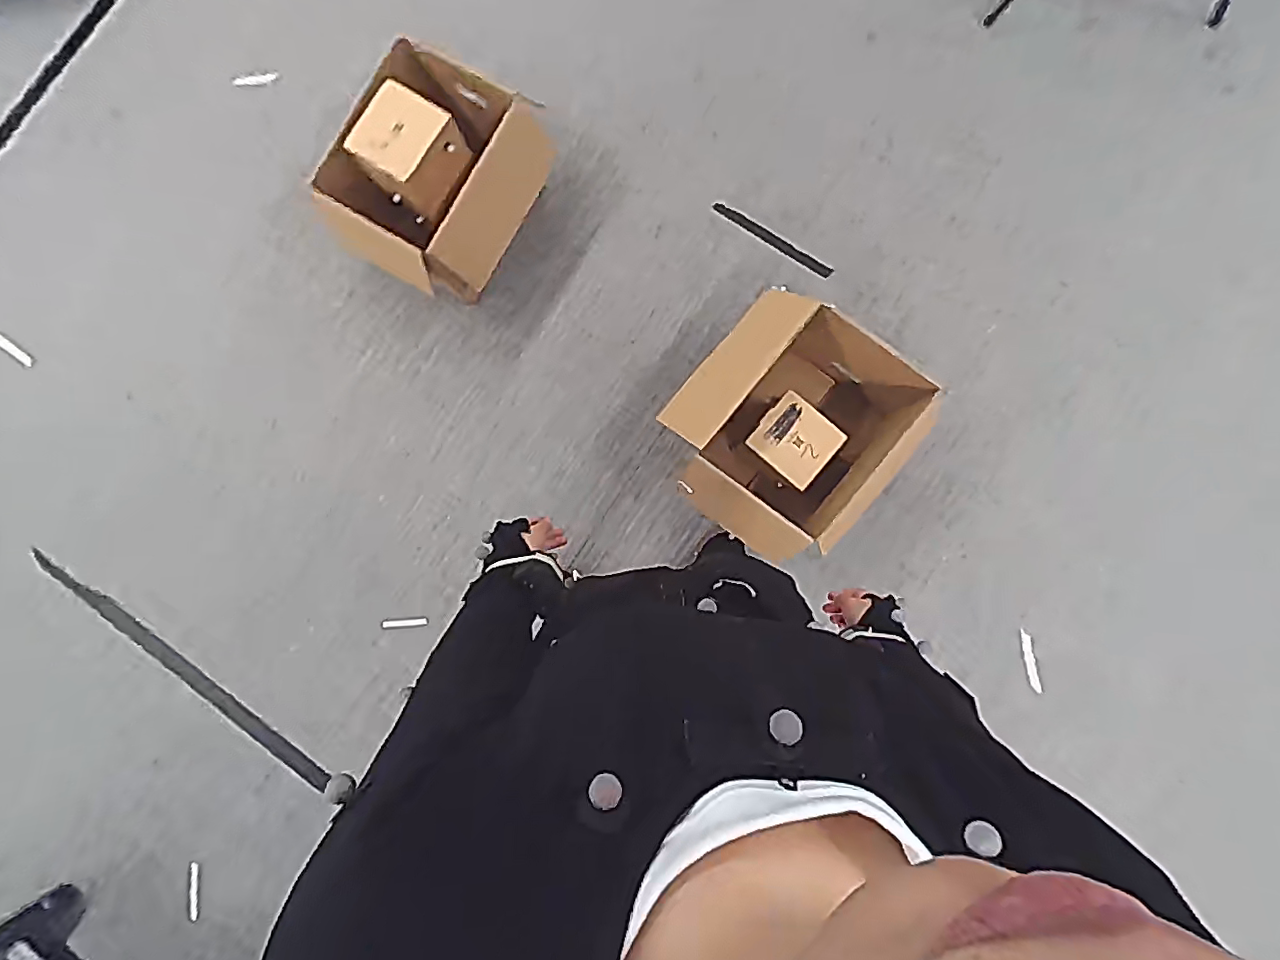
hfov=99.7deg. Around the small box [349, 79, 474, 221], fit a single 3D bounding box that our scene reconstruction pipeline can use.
[{"bbox_3d":[-0.500,-0.735,1.220,0.168,0.176,0.179,33,89,5],"label":"small box"}]
